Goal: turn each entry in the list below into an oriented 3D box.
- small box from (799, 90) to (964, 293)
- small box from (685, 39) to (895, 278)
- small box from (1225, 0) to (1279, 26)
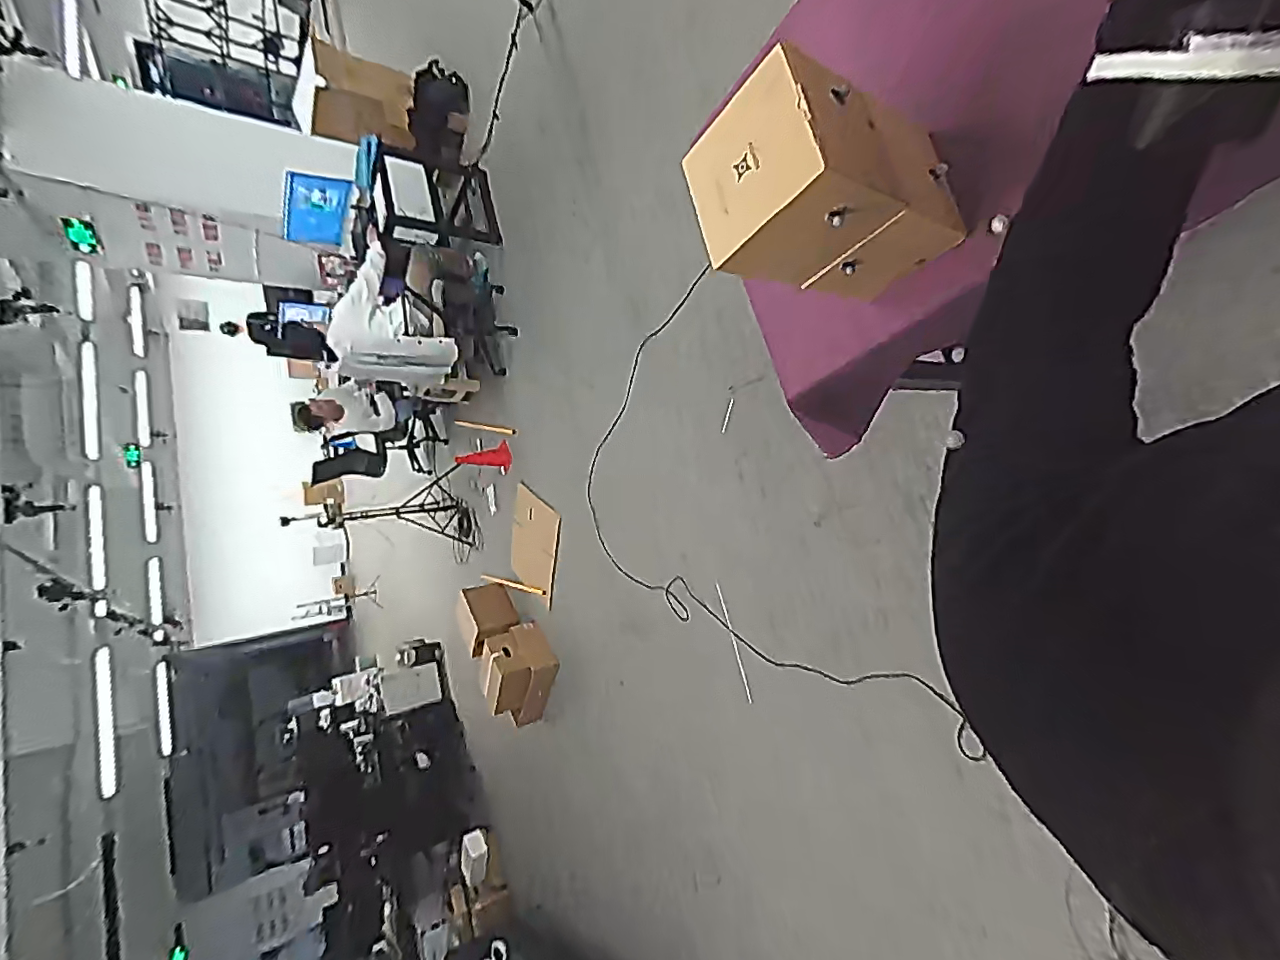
[{"bbox_3d":[0.320,-0.392,0.771,0.168,0.176,0.179,-29,71,52],"label":"small box"},{"bbox_3d":[0.189,-0.378,0.674,0.179,0.176,0.168,-27,73,52],"label":"small box"},{"bbox_3d":[0.556,-0.527,0.430,0.179,0.176,0.168,-30,71,51],"label":"small box"}]
